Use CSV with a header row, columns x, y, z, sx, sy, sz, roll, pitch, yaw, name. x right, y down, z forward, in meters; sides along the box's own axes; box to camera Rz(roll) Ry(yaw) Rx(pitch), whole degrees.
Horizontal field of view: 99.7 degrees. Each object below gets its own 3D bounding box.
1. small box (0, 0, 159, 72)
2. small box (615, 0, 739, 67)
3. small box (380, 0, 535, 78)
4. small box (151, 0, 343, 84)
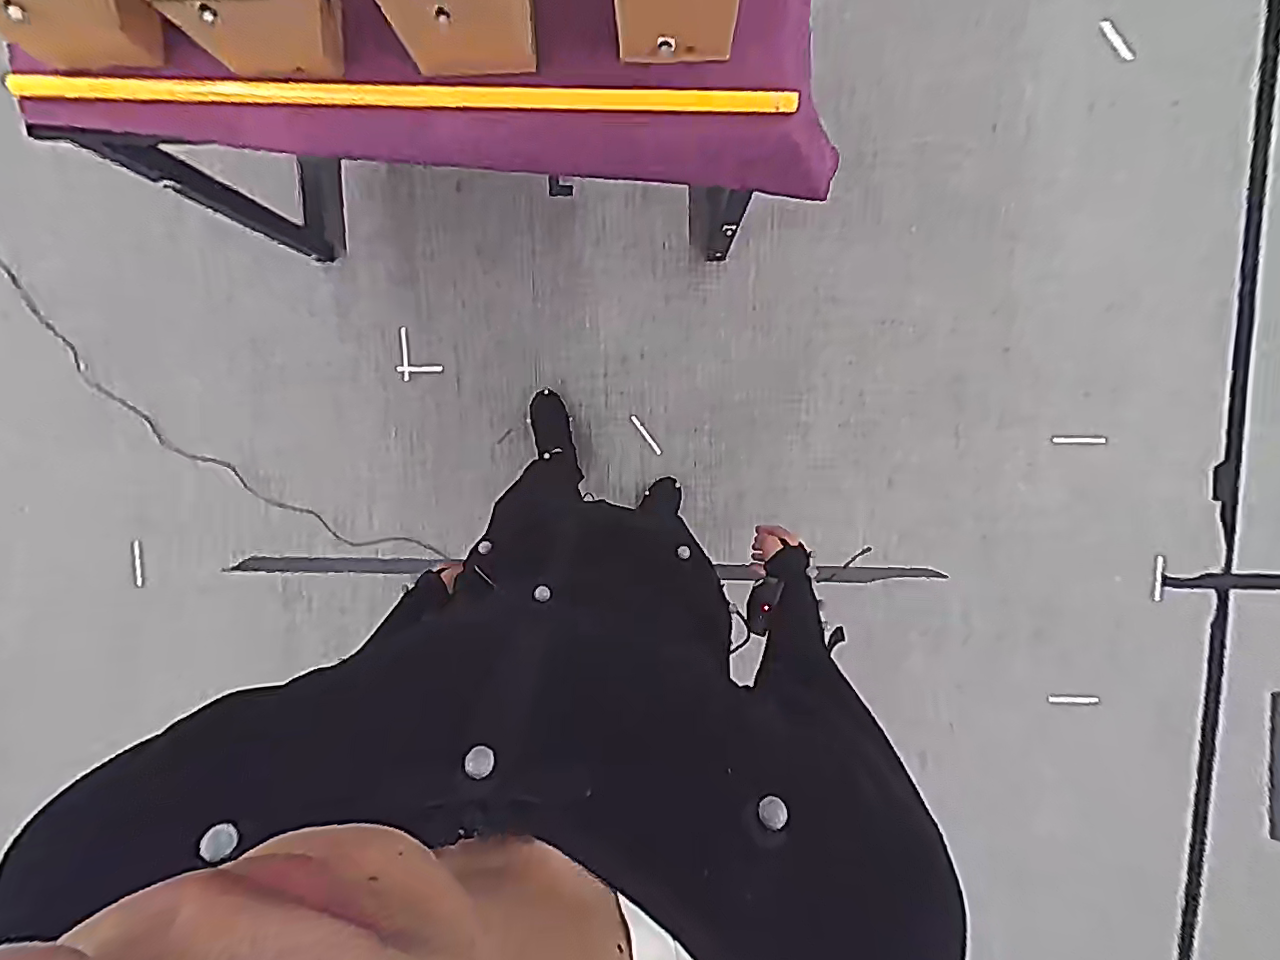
x,y,z,sx,sy,sz,roll,pitch,yaw,name
-0.816,-0.704,0.749,0.179,0.176,0.168,-1,95,1,small box
0.048,-0.705,0.727,0.168,0.176,0.179,-1,94,3,small box
-0.250,-0.687,0.737,0.179,0.176,0.168,-2,94,1,small box
-0.537,-0.691,0.745,0.168,0.176,0.179,0,96,2,small box
